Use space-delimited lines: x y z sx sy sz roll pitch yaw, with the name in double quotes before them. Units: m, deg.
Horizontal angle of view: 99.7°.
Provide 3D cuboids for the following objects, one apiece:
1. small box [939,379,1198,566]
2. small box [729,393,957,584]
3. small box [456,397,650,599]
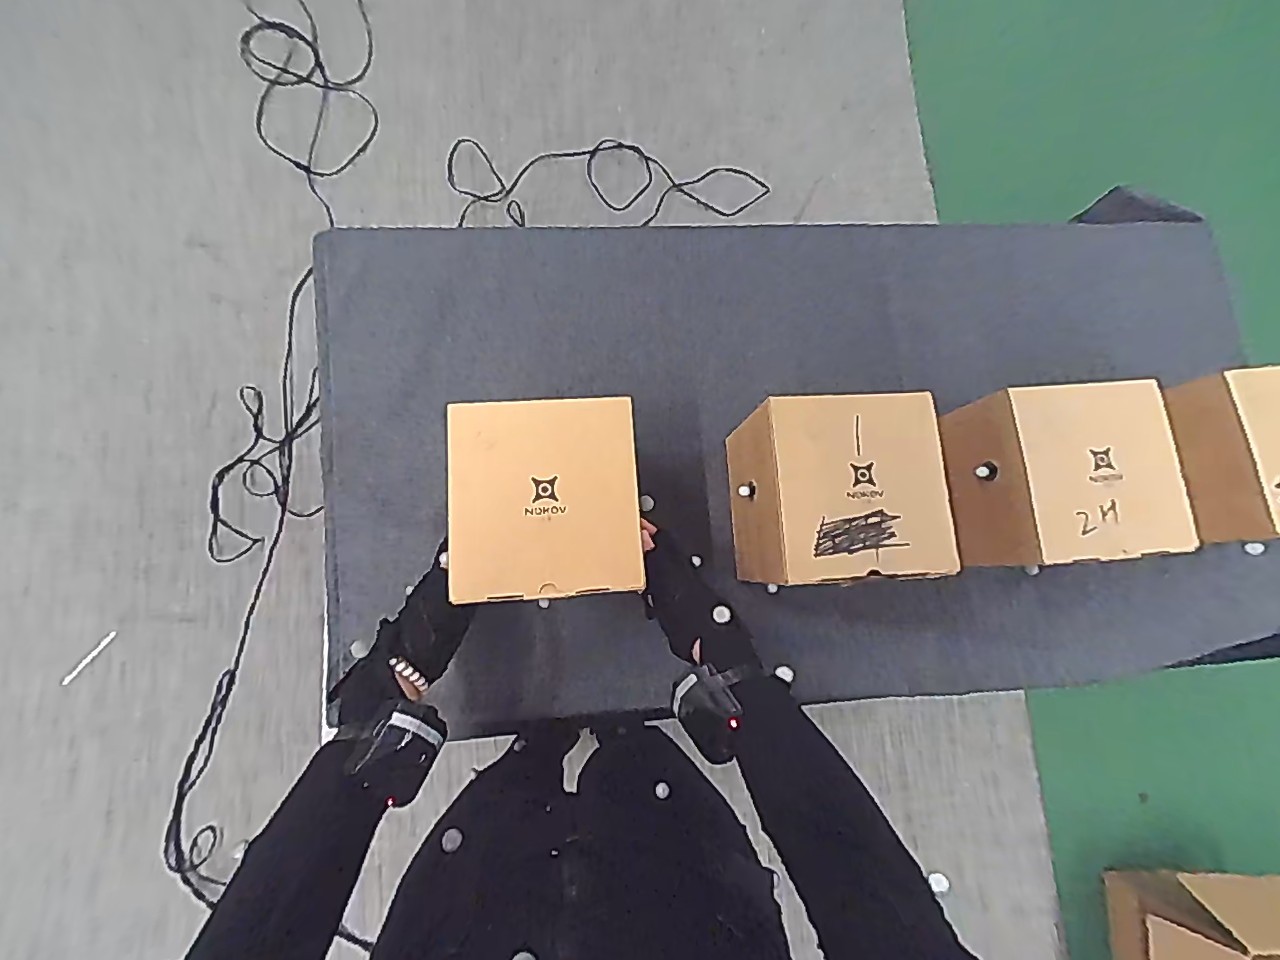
"small box" 0.441 0.002 0.603 0.168 0.176 0.179 -4 80 -5
"small box" 0.199 0.017 0.580 0.168 0.176 0.179 -2 80 -6
"small box" -0.087 0.026 0.551 0.168 0.176 0.179 -3 80 -7
